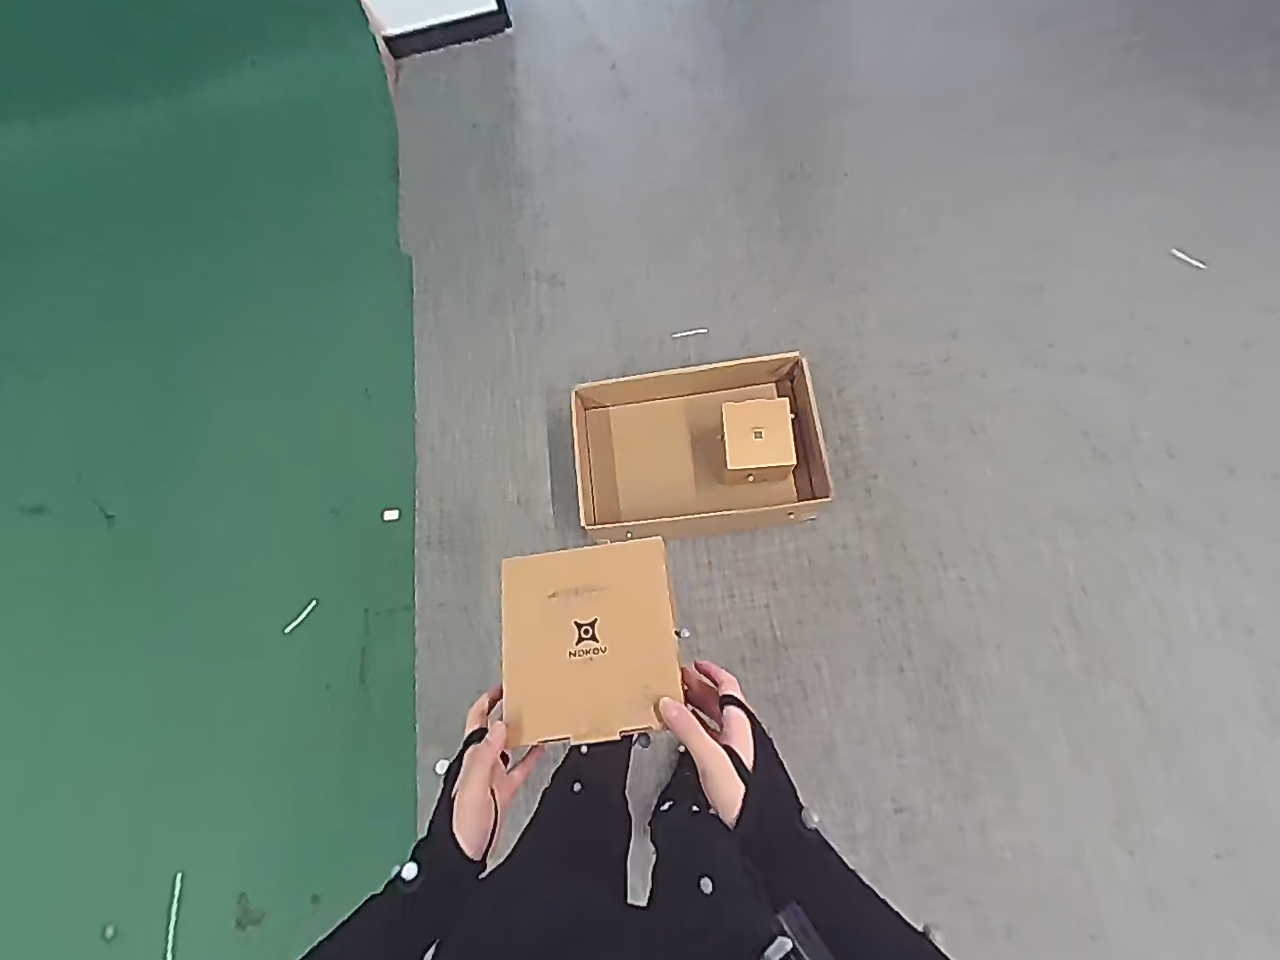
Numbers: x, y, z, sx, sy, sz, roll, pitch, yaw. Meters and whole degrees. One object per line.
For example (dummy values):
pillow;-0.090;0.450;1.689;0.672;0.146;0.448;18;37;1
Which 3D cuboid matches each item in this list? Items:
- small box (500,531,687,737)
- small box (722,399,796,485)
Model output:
small box;-0.042;0.171;0.583;0.168;0.176;0.179;-8;65;4
small box;0.299;-0.089;1.388;0.168;0.176;0.179;-4;74;6
